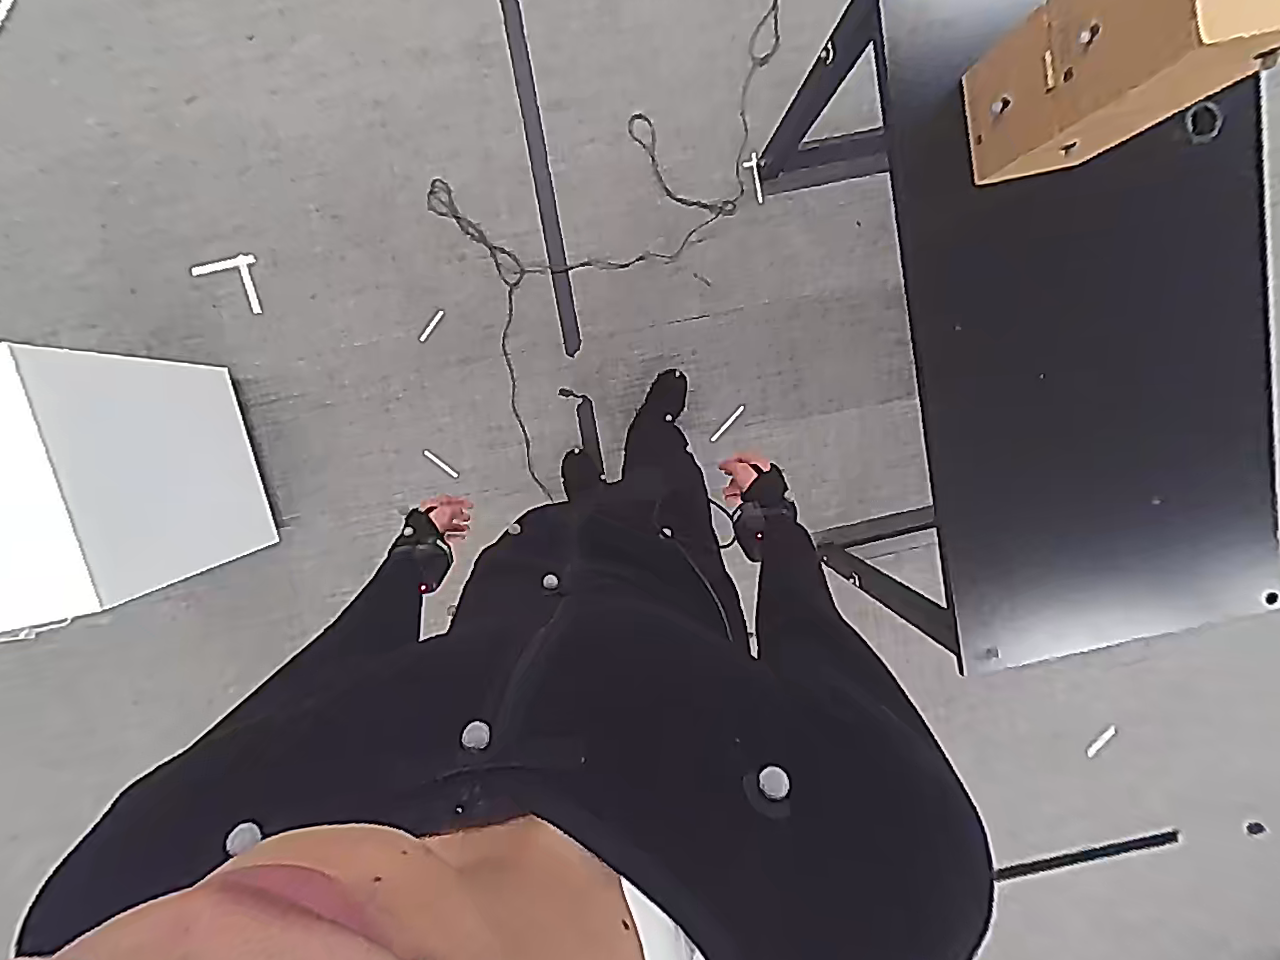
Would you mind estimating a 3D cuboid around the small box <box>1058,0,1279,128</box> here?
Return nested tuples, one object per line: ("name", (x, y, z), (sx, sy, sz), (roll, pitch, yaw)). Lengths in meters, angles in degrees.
("small box", (0.620, -0.532, 0.602), (0.179, 0.176, 0.168), (-12, 97, -1))

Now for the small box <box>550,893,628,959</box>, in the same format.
("small box", (-0.120, 1.188, 1.349), (0.168, 0.176, 0.179), (-9, 97, -1))

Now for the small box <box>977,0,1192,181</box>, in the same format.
("small box", (0.610, -0.552, 0.765), (0.179, 0.176, 0.168), (-13, 98, -1))

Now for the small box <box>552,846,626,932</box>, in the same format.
("small box", (-0.138, 1.163, 1.509), (0.179, 0.176, 0.168), (-11, 98, 0))
